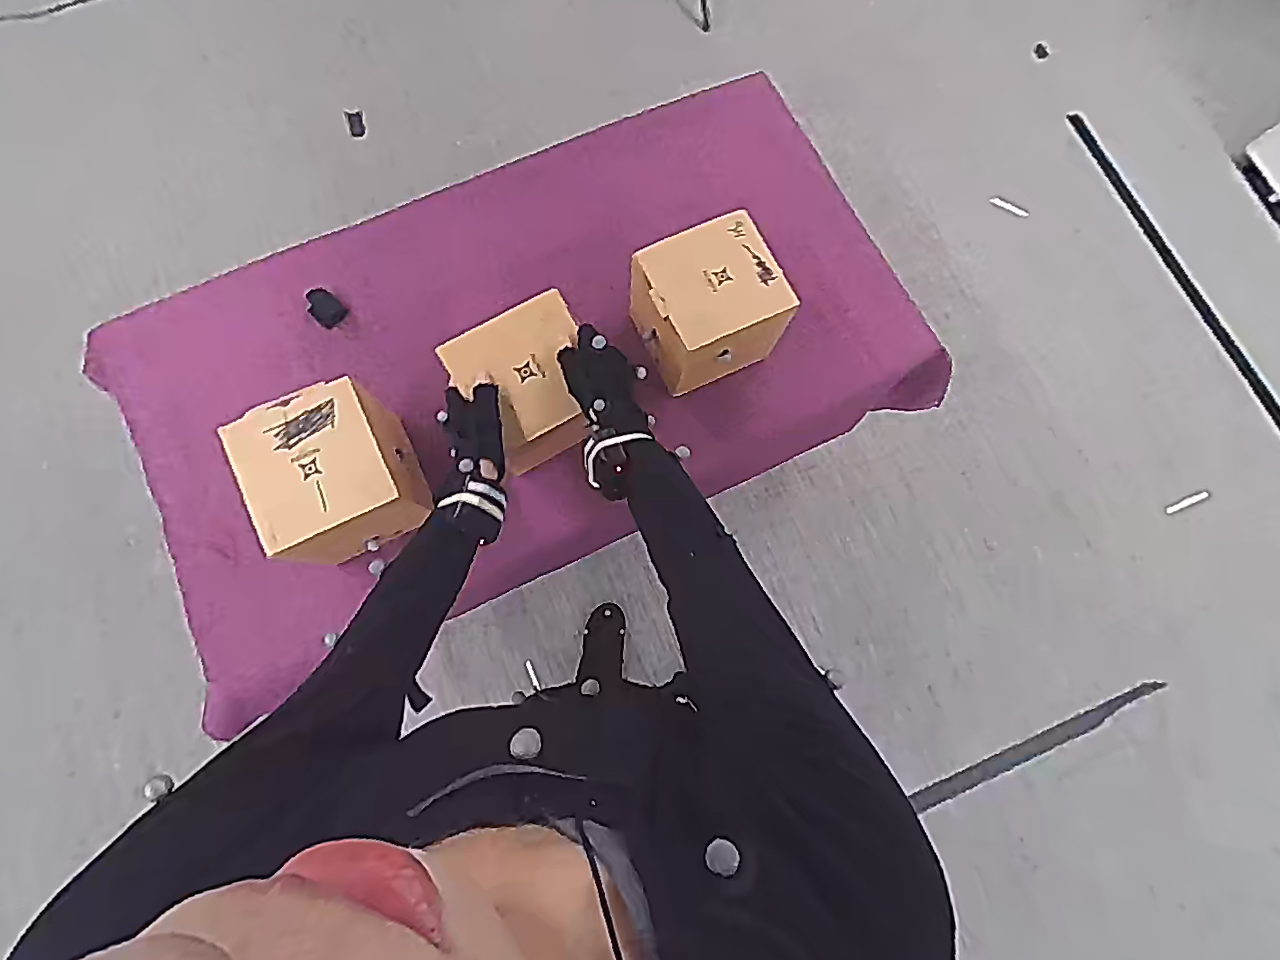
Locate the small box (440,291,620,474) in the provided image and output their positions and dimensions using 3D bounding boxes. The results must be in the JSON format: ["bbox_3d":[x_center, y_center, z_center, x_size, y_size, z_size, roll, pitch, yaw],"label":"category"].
[{"bbox_3d":[-0.146,-0.126,0.763,0.179,0.176,0.168,-31,86,-7],"label":"small box"}]

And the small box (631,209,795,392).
[{"bbox_3d":[0.099,-0.257,0.811,0.179,0.176,0.168,-25,80,-7],"label":"small box"}]
